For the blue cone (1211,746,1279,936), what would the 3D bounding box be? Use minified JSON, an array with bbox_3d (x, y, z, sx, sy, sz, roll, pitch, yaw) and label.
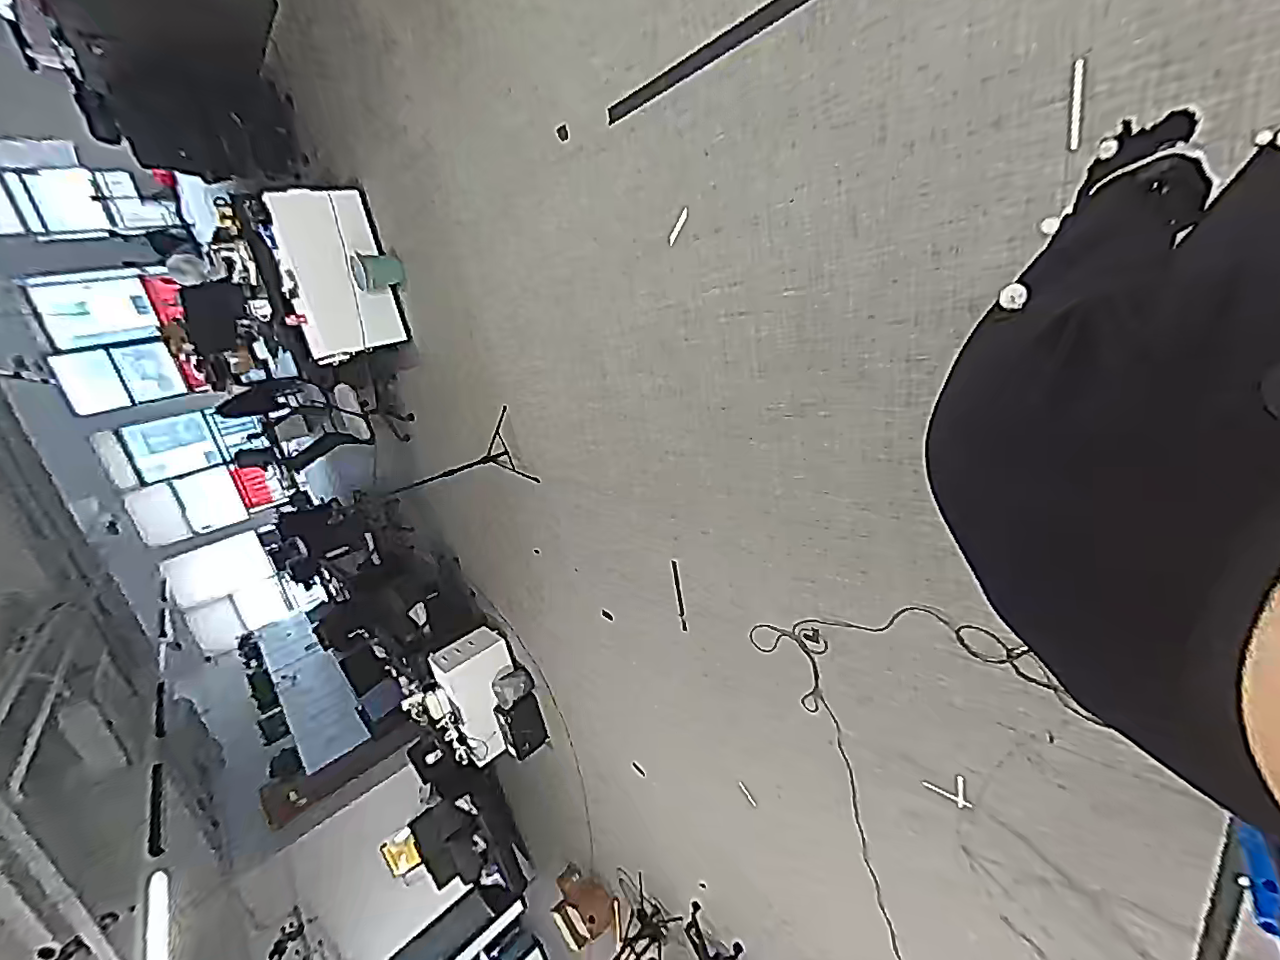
[{"bbox_3d":[1.277,0.743,1.086,0.192,0.380,0.193,5,115,48],"label":"blue cone"}]
